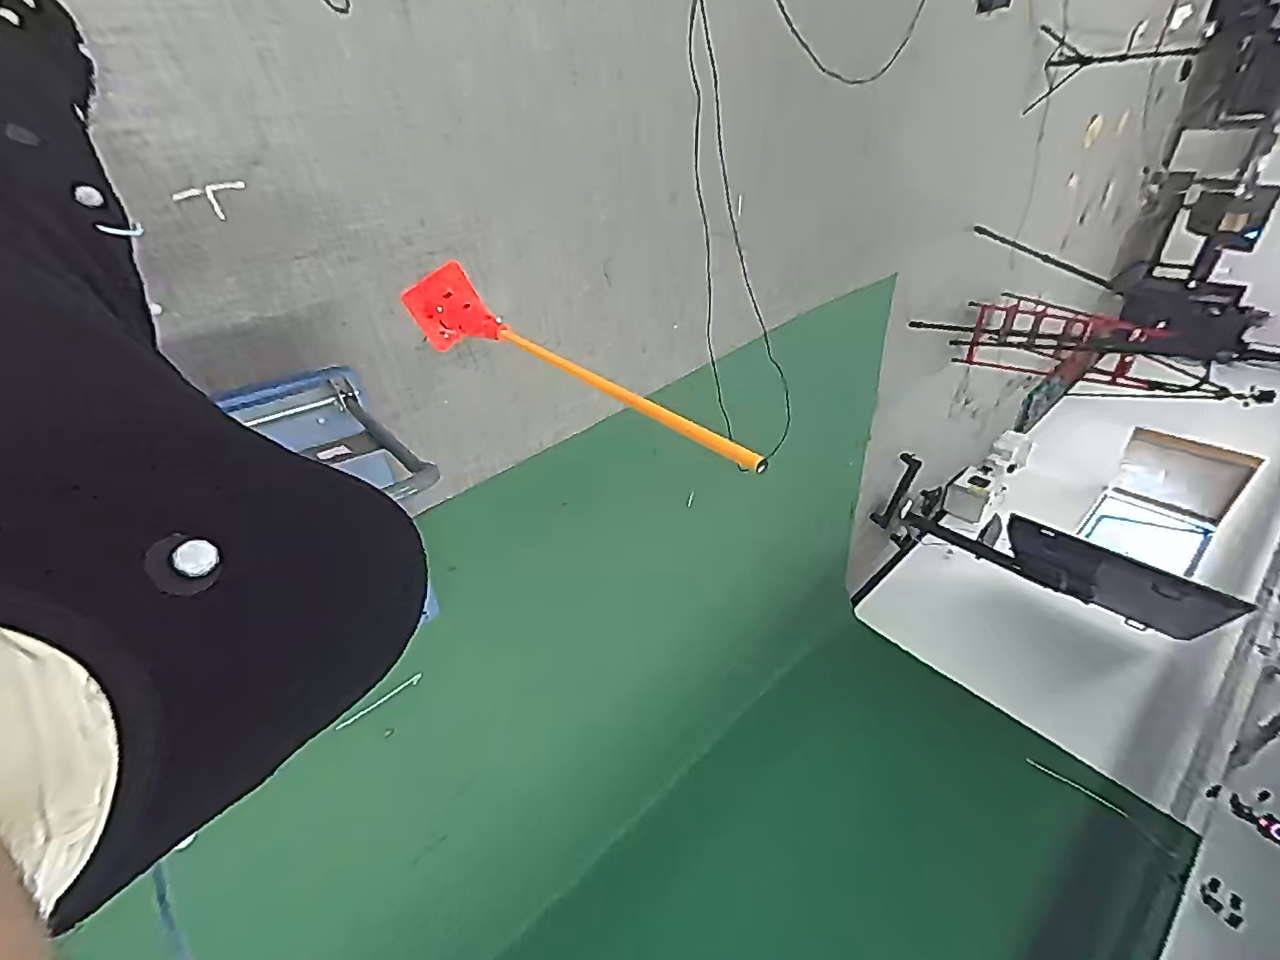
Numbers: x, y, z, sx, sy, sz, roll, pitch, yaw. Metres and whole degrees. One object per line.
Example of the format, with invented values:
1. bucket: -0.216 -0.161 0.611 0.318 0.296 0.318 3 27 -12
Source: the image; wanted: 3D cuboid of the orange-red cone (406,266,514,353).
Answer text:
1. orange-red cone: -0.449 -0.431 1.475 0.199 0.360 0.198 -44 138 -18
